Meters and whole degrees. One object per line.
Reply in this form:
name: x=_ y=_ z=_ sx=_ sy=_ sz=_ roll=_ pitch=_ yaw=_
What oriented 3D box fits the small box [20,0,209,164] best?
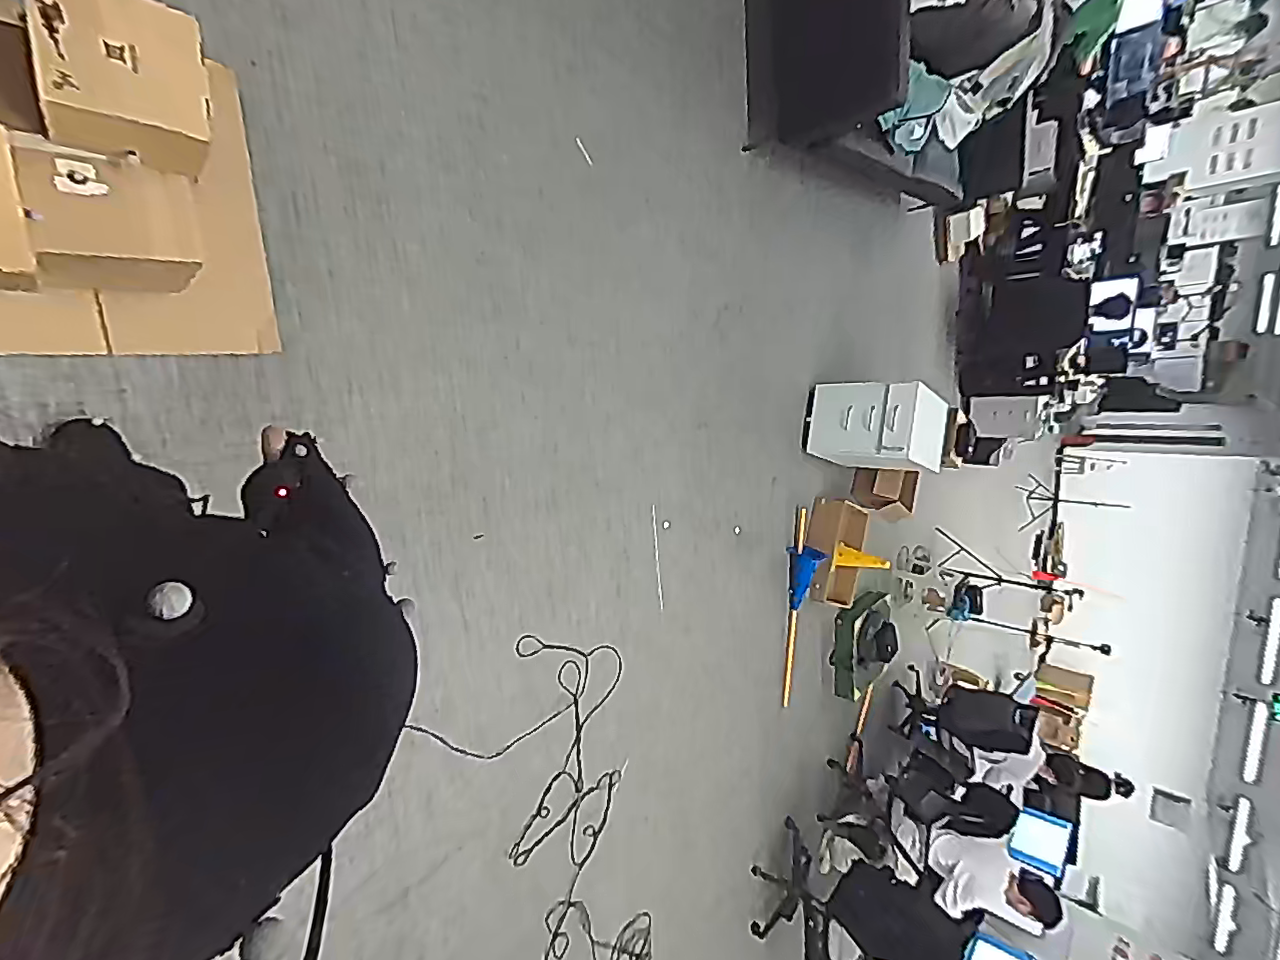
small box: x=-0.749 y=-0.582 z=0.777 sx=0.179 sy=0.176 sz=0.168 roll=-8 pitch=101 yaw=-43

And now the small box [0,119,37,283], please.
small box: x=-0.886 y=-0.353 z=0.668 sx=0.168 sy=0.176 sz=0.179 roll=-13 pitch=106 yaw=-45
